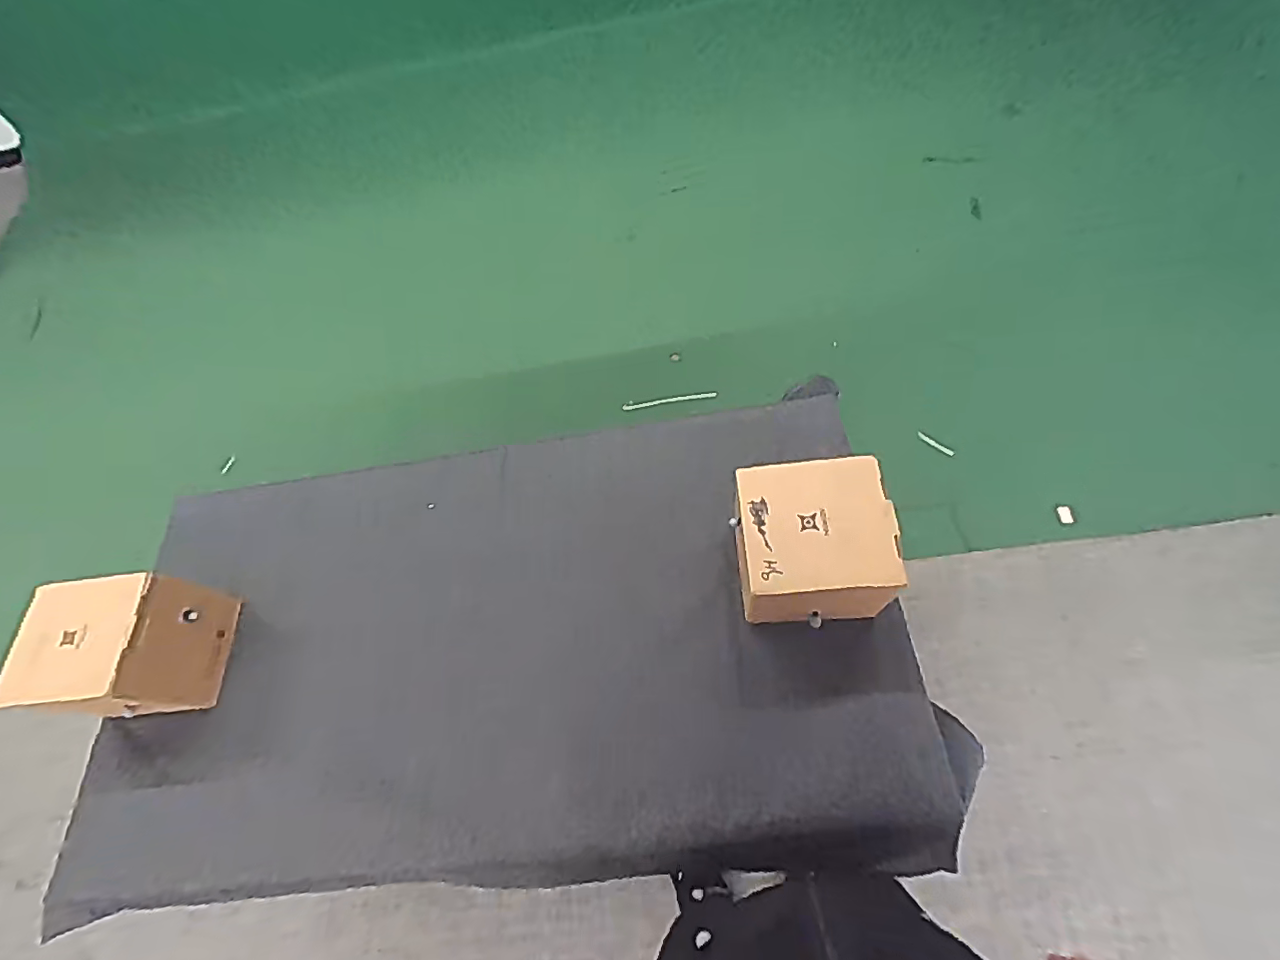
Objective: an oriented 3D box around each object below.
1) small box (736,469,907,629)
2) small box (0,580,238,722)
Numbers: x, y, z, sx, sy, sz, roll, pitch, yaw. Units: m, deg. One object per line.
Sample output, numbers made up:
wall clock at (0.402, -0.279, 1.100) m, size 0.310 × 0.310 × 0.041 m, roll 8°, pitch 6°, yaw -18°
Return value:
small box at (0.226, 0.099, 0.723) m, size 0.179 × 0.176 × 0.168 m, roll -5°, pitch 64°, yaw 6°
small box at (-0.740, 0.253, 0.783) m, size 0.179 × 0.176 × 0.168 m, roll -6°, pitch 61°, yaw 6°
